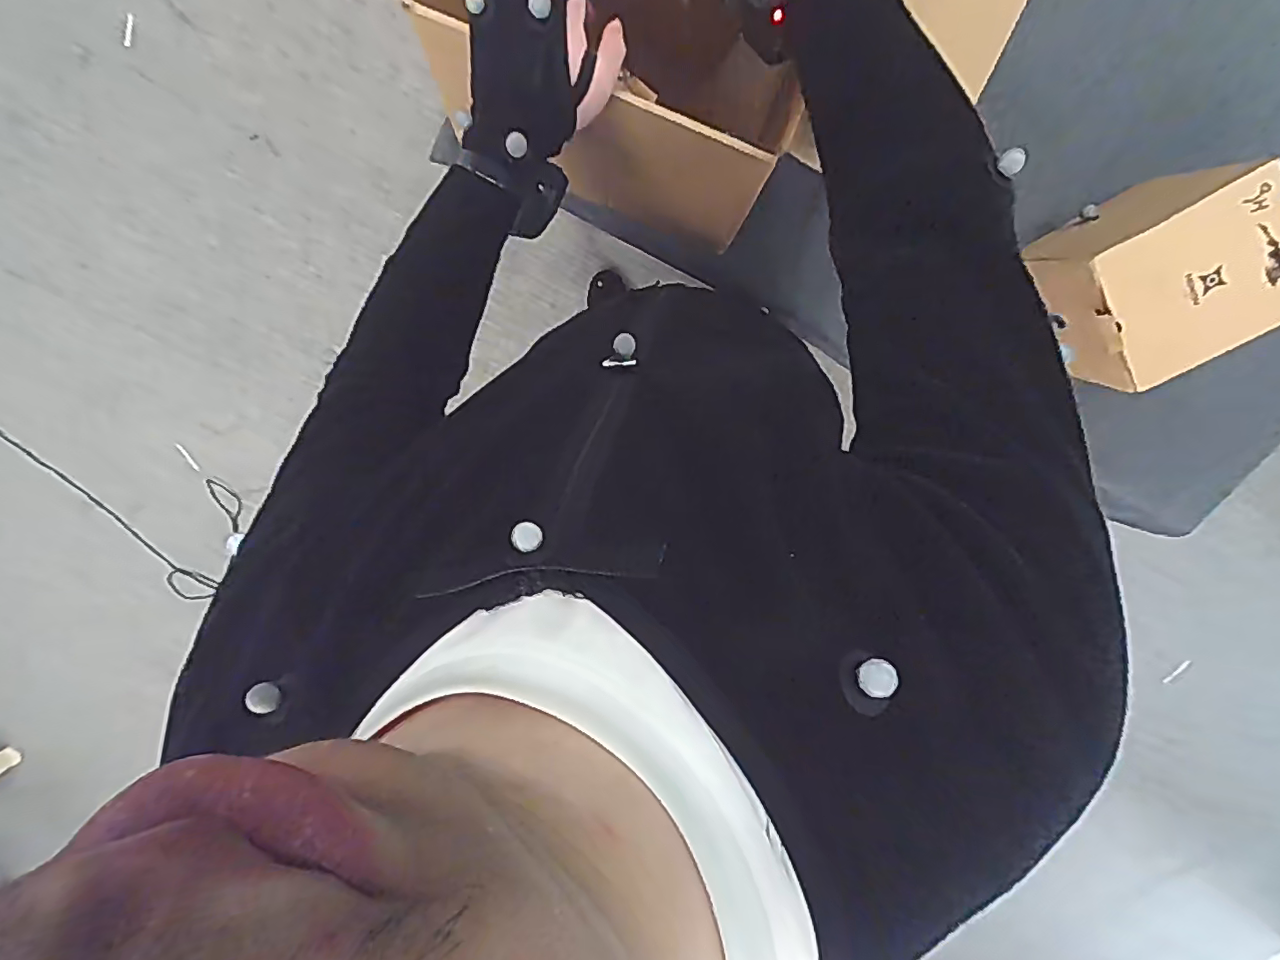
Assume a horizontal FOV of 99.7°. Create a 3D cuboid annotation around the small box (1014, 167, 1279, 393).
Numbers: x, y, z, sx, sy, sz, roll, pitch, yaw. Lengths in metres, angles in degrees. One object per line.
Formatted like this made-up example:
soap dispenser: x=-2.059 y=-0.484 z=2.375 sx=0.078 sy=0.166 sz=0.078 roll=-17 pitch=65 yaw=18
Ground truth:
small box: x=0.583 y=-0.228 z=0.638 sx=0.179 sy=0.176 sz=0.168 roll=-28 pitch=107 yaw=14
